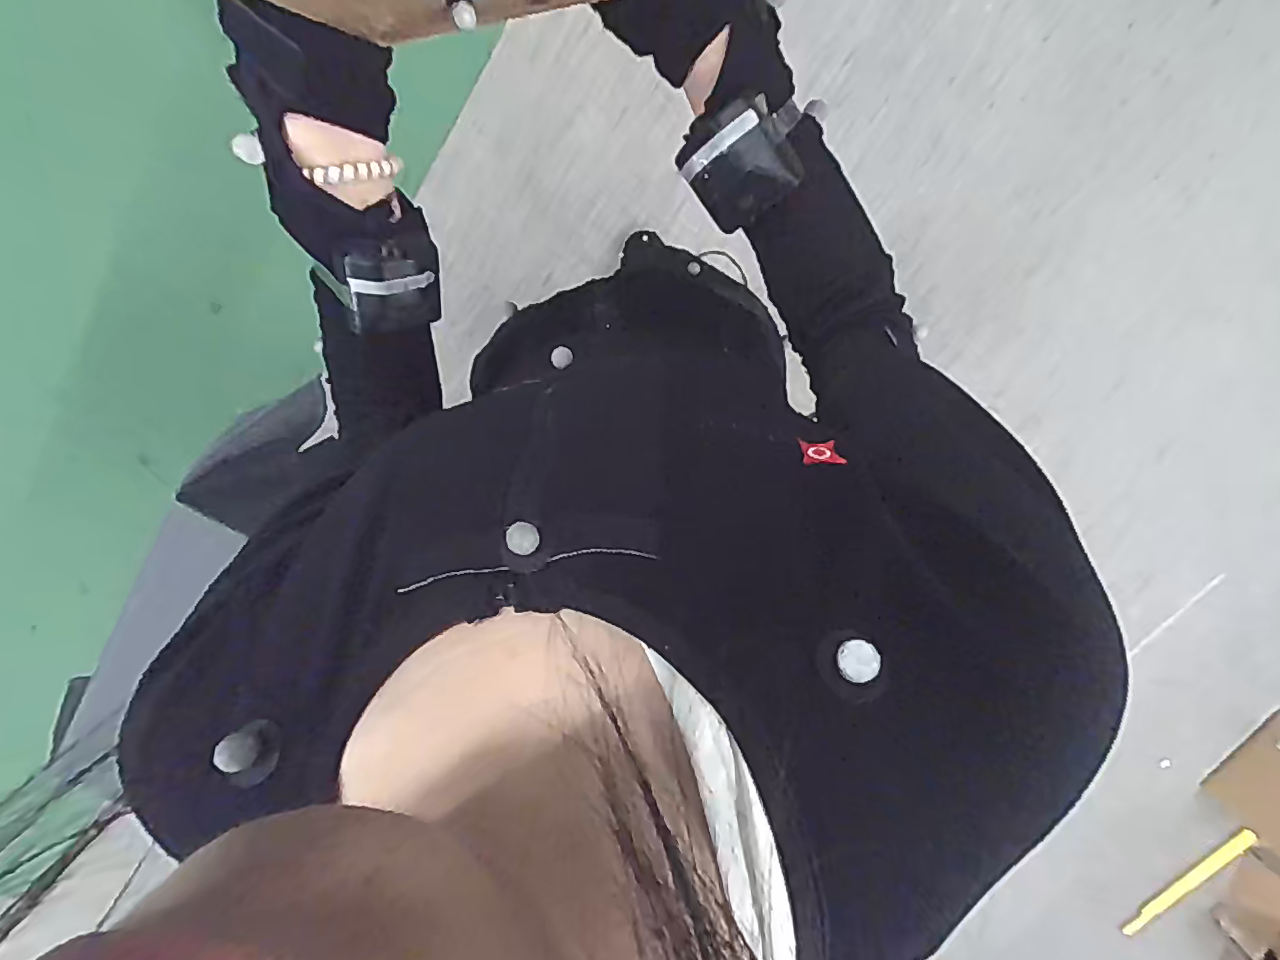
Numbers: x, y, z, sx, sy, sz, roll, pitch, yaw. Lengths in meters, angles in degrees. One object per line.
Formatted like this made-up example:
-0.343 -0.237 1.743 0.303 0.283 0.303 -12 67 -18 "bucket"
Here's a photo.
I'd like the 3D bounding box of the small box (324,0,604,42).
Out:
-0.090 -0.303 0.205 0.168 0.176 0.179 -8 122 6 "small box"
